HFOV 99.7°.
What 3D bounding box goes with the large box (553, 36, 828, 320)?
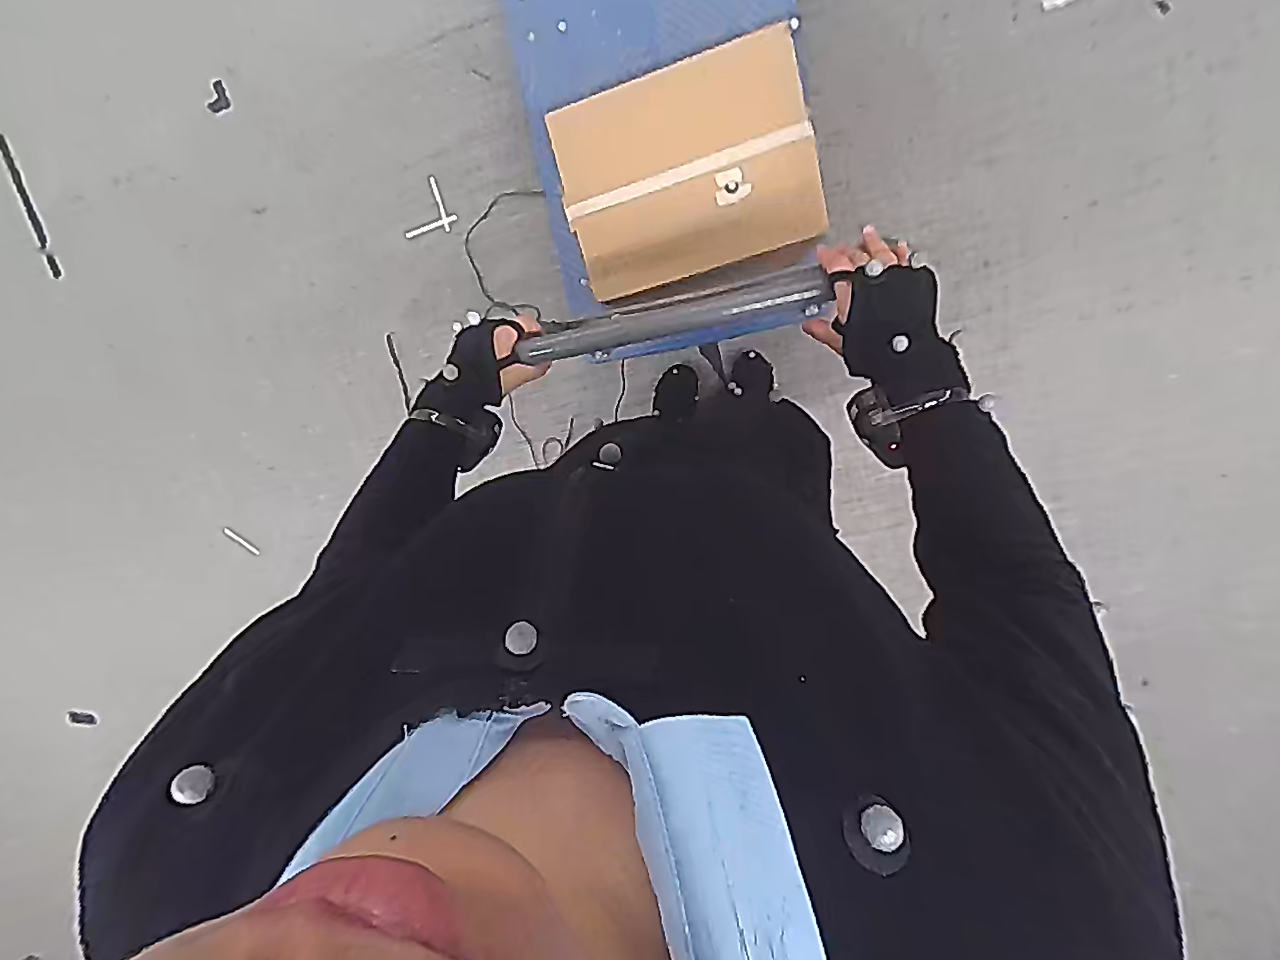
[{"bbox_3d":[0.098,-0.526,1.039,0.408,0.320,0.320,-14,101,10],"label":"large box"}]
